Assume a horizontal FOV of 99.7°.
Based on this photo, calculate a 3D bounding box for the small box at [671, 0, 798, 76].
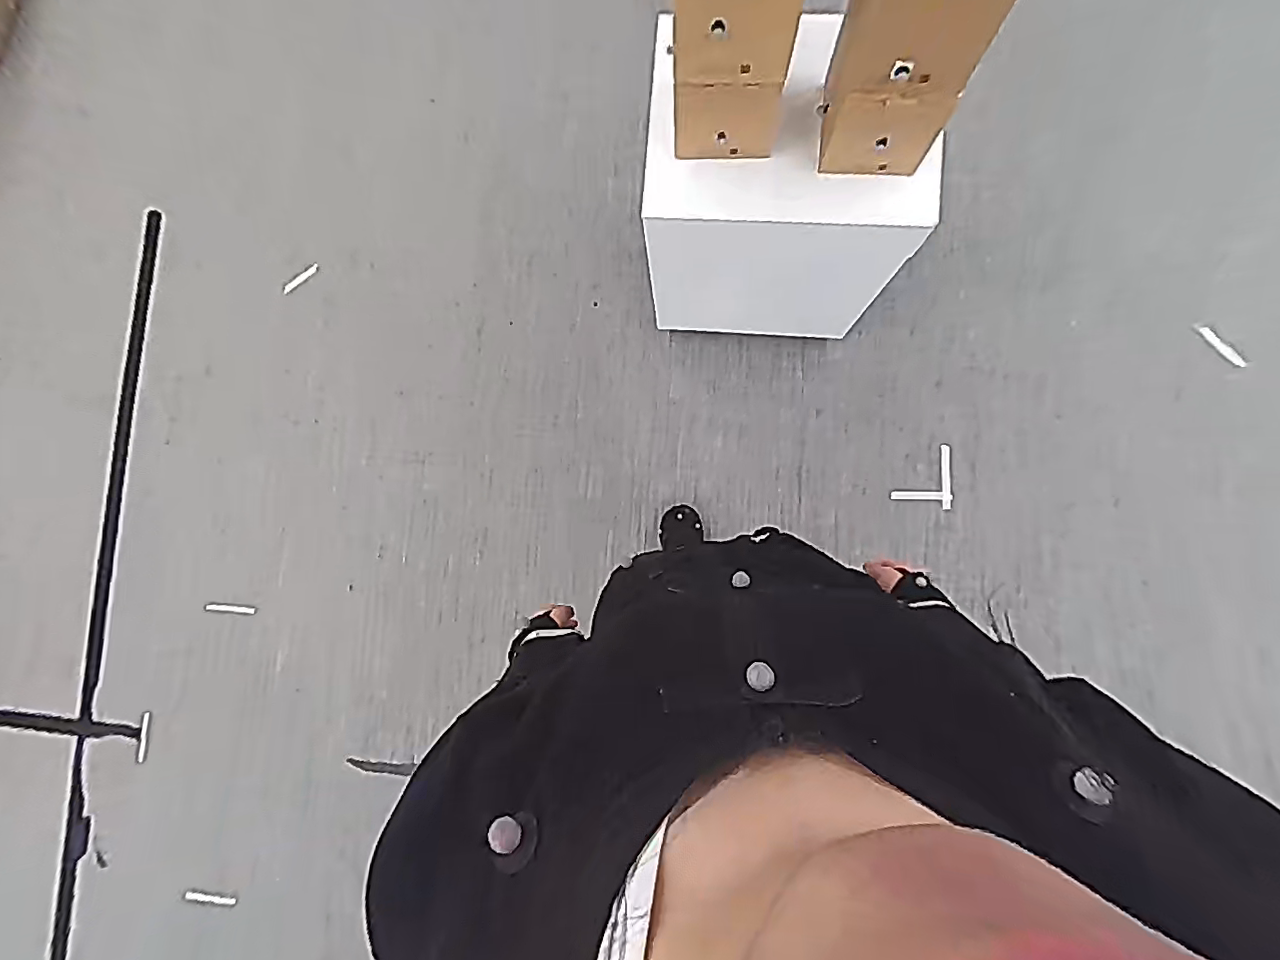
[{"bbox_3d":[0.128,-0.684,0.725,0.168,0.176,0.179,3,85,4],"label":"small box"}]

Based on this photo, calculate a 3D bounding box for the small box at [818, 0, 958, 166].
[{"bbox_3d":[0.389,-0.633,0.863,0.168,0.176,0.179,5,87,5],"label":"small box"}]

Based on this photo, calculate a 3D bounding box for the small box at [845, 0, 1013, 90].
[{"bbox_3d":[0.376,-0.656,0.703,0.168,0.176,0.179,5,86,7],"label":"small box"}]
